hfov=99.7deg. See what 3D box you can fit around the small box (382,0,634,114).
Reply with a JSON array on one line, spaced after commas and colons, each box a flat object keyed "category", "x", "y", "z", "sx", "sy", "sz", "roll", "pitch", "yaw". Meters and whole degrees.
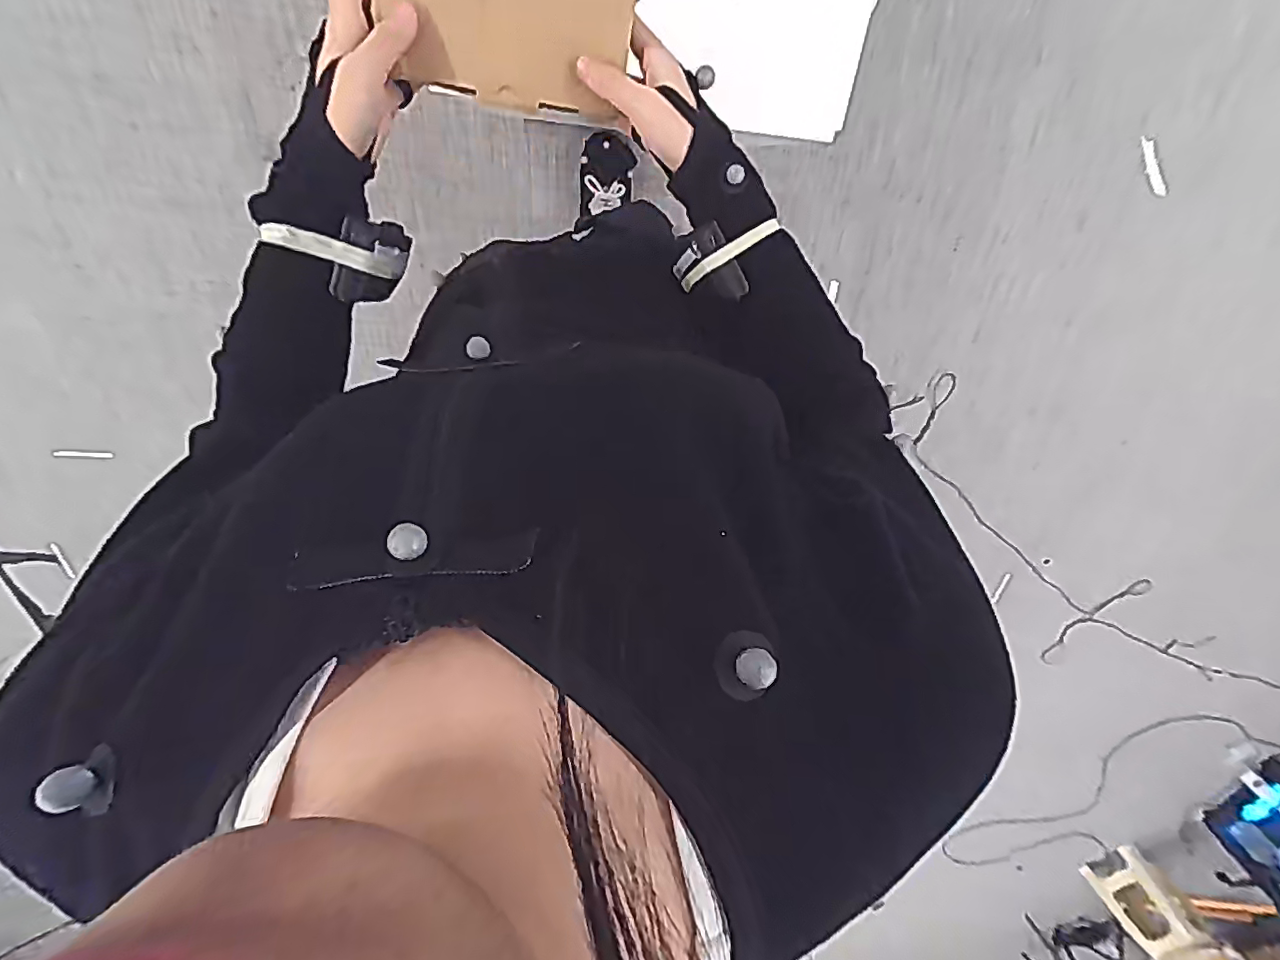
[{"category": "small box", "x": -0.087, "y": -0.399, "z": 0.388, "sx": 0.168, "sy": 0.176, "sz": 0.179, "roll": 2, "pitch": 135, "yaw": -13}]
